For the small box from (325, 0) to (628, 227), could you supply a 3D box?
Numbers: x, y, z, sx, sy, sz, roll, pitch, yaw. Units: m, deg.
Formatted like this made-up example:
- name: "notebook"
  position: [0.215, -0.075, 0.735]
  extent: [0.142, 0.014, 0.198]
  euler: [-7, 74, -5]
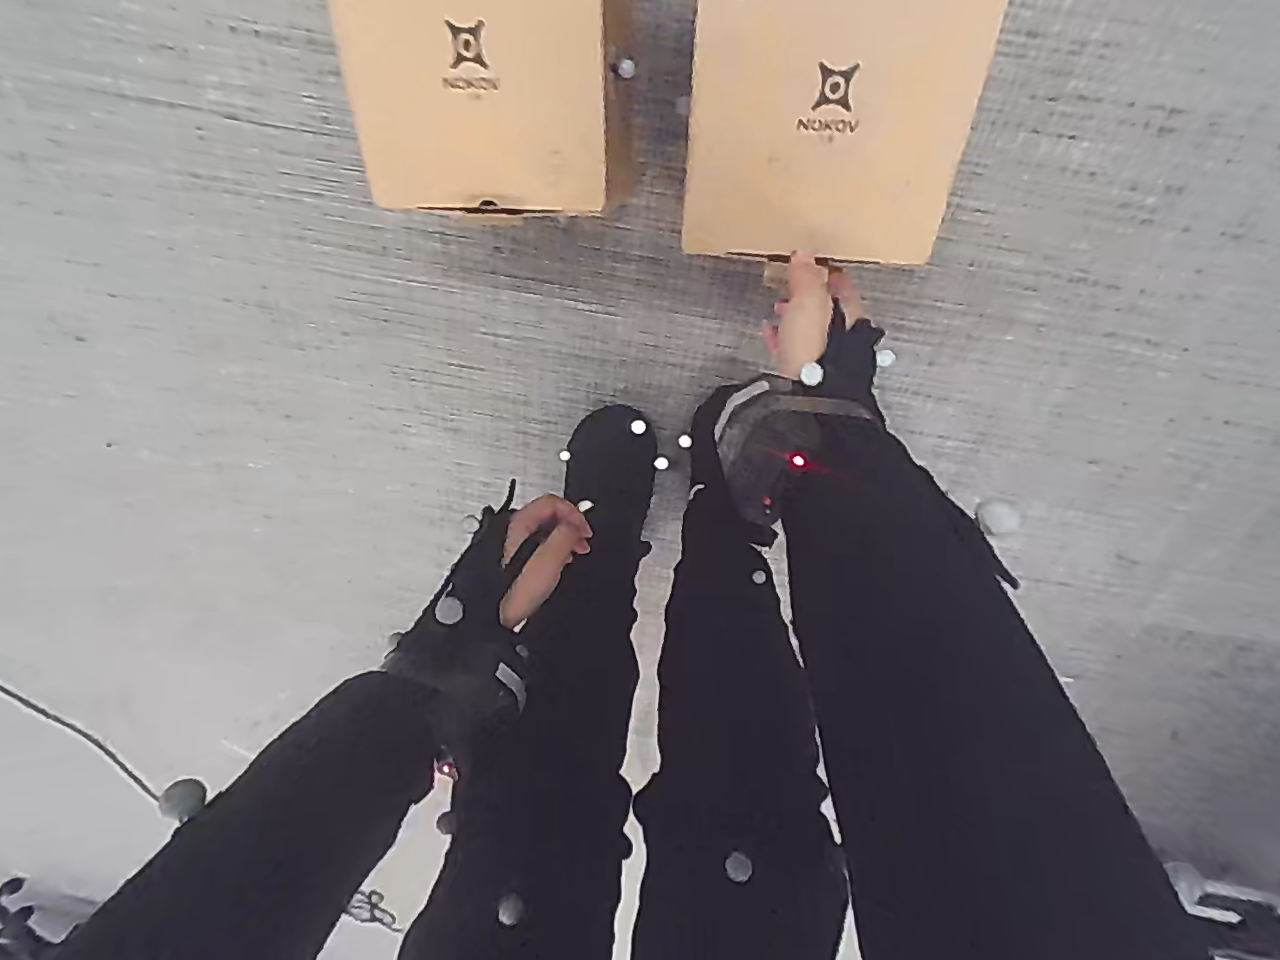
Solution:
- name: "small box"
  position: [-0.099, -0.297, 0.403]
  extent: [0.168, 0.176, 0.179]
  euler: [3, 122, 4]
